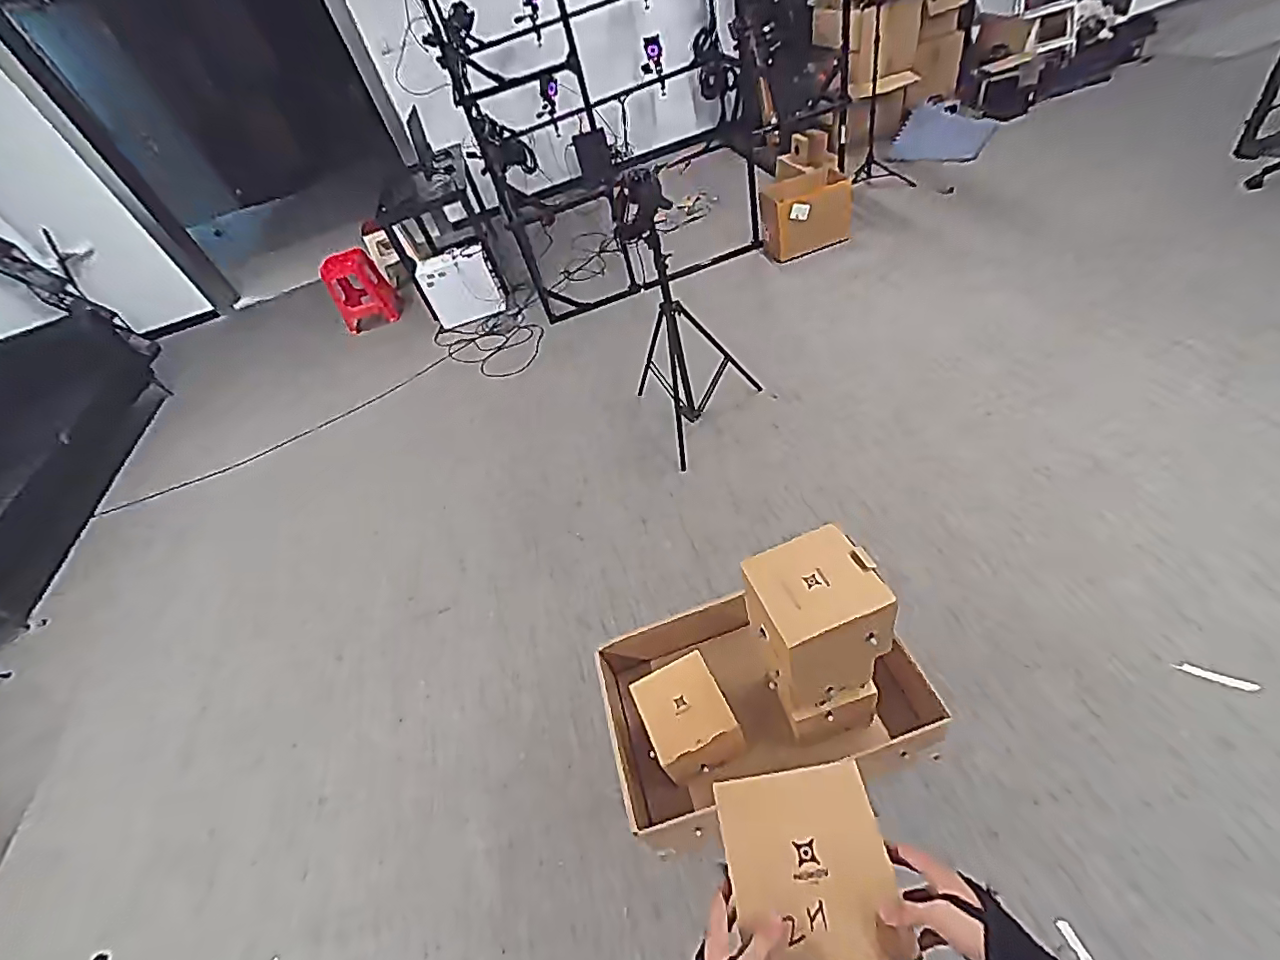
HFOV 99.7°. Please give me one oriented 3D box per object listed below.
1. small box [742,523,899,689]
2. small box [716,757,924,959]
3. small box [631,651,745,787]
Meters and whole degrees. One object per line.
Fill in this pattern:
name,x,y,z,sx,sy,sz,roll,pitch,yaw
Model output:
small box,0.284,0.205,0.874,0.179,0.176,0.168,-22,44,-3
small box,0.185,0.442,0.615,0.168,0.176,0.179,-12,49,3
small box,0.102,0.499,1.126,0.168,0.176,0.179,-26,45,-6
